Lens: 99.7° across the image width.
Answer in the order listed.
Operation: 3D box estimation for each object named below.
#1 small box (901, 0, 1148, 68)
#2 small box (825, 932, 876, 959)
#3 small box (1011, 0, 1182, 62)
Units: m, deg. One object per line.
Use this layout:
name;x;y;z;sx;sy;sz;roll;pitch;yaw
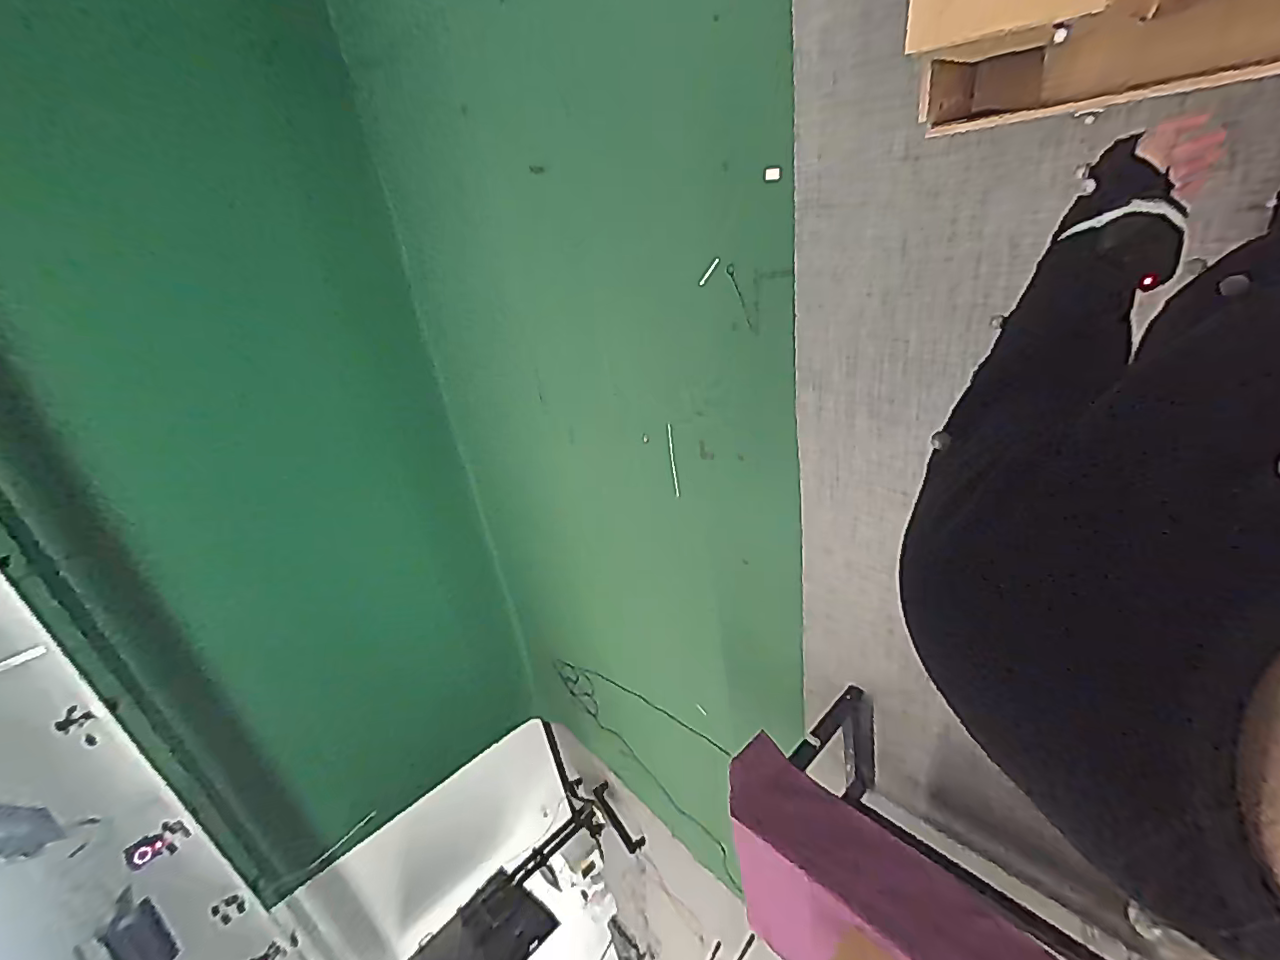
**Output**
small box;0.392;-0.528;0.535;0.179;0.176;0.168;23;130;42
small box;0.553;1.317;1.368;0.179;0.176;0.168;14;122;47
small box;0.511;-0.602;0.619;0.179;0.176;0.168;22;129;42
